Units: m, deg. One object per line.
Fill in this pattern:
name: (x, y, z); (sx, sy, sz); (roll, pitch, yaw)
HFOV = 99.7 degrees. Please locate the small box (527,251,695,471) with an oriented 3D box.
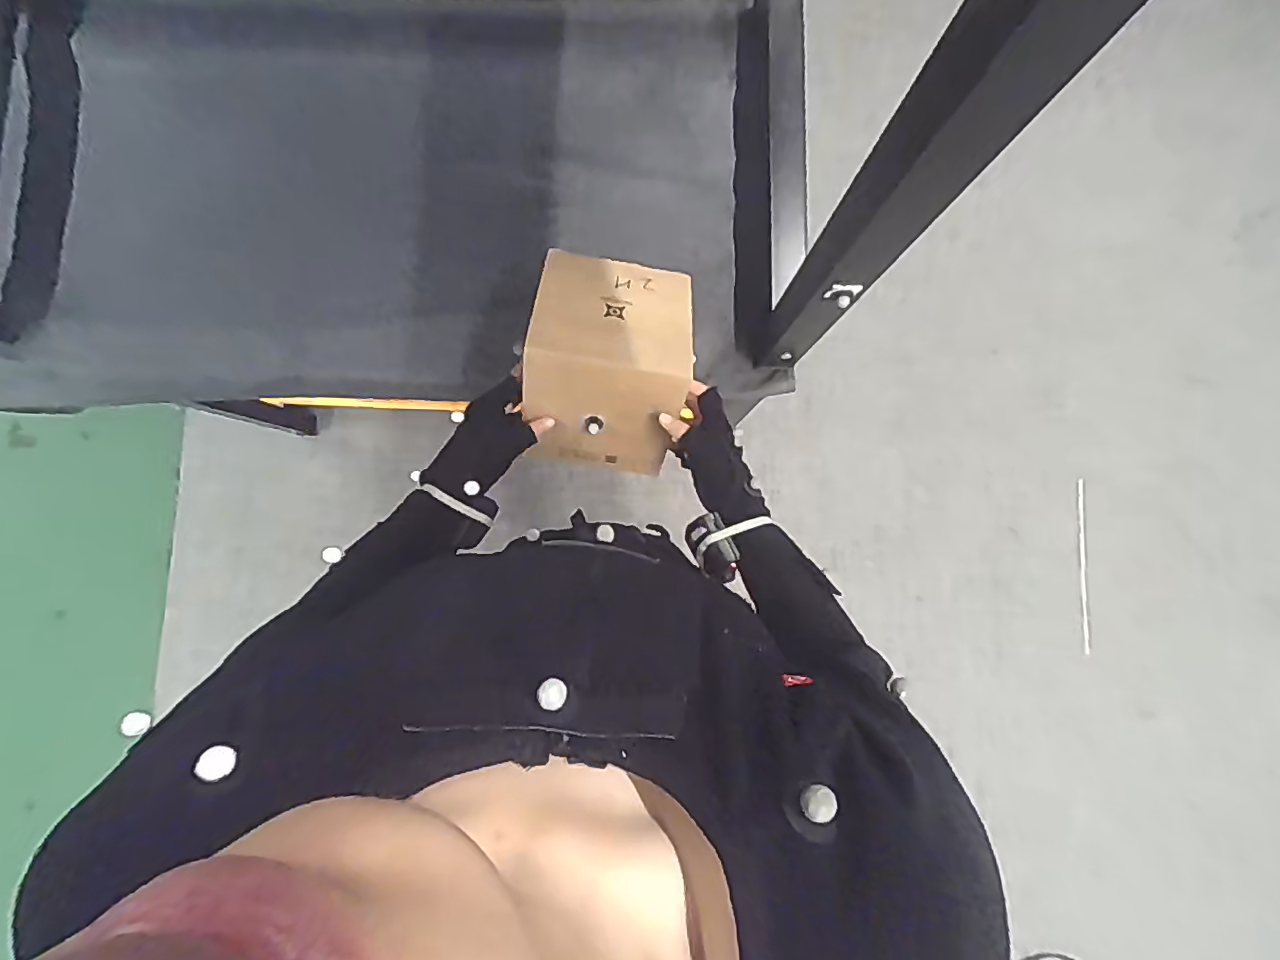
small box: (-0.036, -0.130, 0.629); (0.168, 0.176, 0.179); (8, 54, -8)
